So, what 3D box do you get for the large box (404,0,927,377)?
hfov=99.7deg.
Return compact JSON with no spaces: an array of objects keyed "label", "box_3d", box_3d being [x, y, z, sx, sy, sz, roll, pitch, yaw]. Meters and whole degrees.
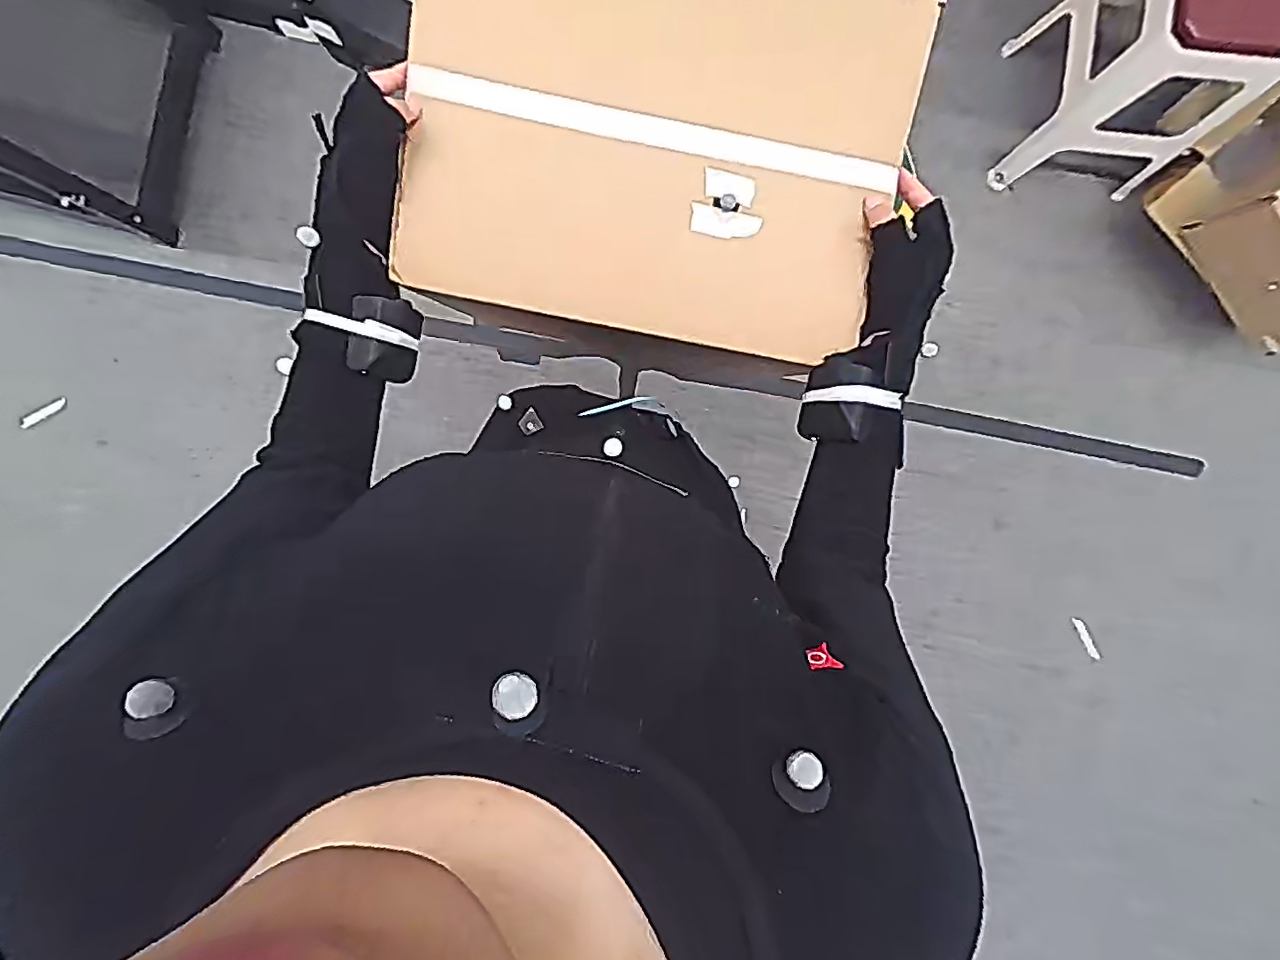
[{"label":"large box","box_3d":[0.009,-0.304,0.600,0.408,0.320,0.320,11,100,-4]}]
